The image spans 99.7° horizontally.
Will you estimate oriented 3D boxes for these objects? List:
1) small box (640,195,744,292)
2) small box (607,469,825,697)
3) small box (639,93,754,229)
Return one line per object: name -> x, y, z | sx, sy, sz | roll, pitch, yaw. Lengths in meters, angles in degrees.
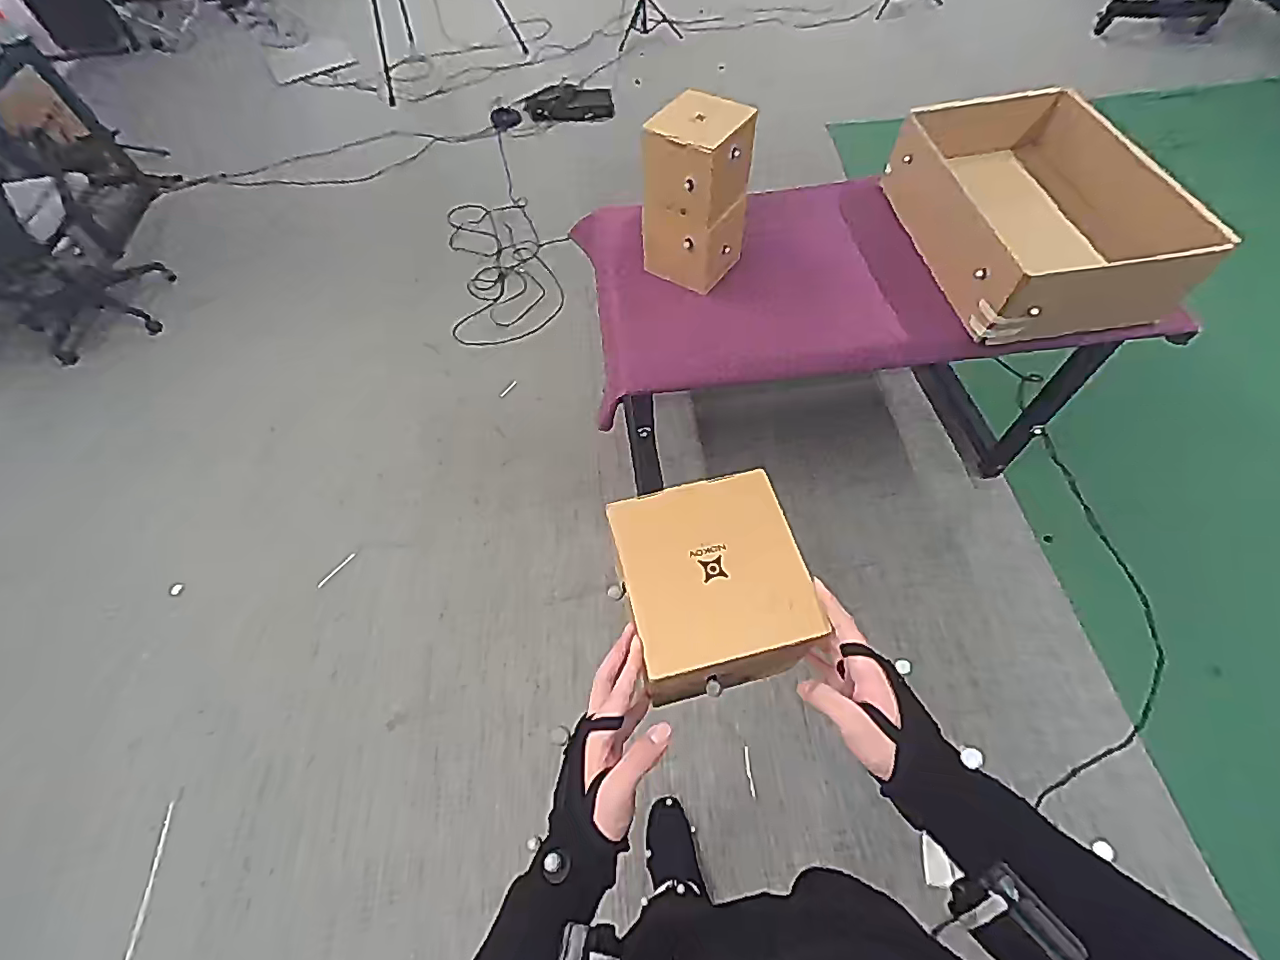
small box -> 0.120, -0.568, 1.259 | 0.179, 0.176, 0.168 | 30, 64, 20
small box -> 0.068, 0.118, 0.570 | 0.168, 0.176, 0.179 | -13, 59, -5
small box -> 0.116, -0.657, 1.123 | 0.168, 0.176, 0.179 | 31, 65, 18
